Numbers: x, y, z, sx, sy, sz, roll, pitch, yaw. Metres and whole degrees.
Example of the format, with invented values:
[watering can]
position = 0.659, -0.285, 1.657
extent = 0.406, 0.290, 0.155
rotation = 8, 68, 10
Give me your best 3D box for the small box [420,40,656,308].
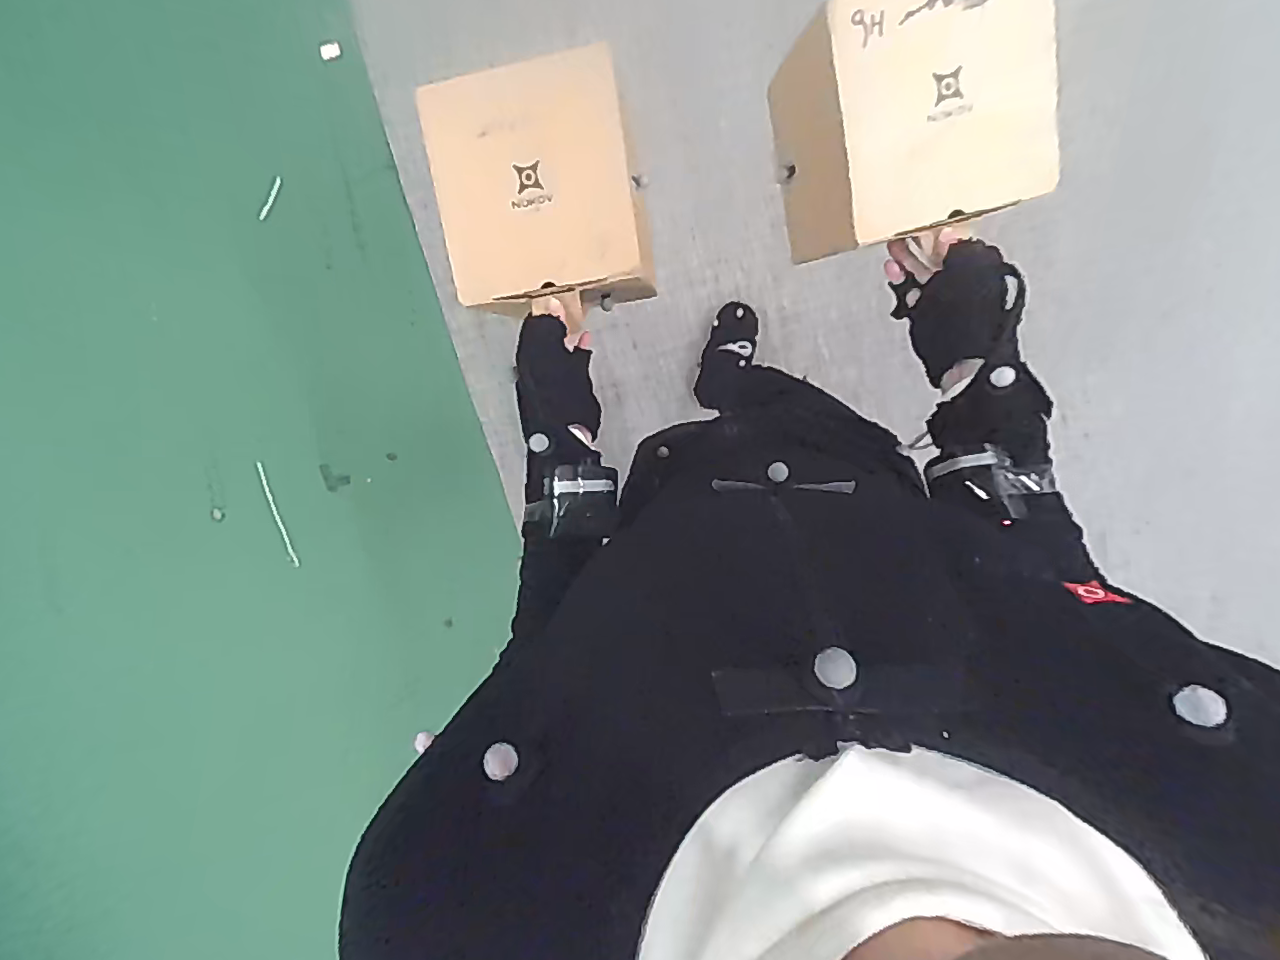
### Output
[small box]
position = -0.082, -0.273, 0.534
extent = 0.168, 0.176, 0.179
rotation = -8, 101, 9
